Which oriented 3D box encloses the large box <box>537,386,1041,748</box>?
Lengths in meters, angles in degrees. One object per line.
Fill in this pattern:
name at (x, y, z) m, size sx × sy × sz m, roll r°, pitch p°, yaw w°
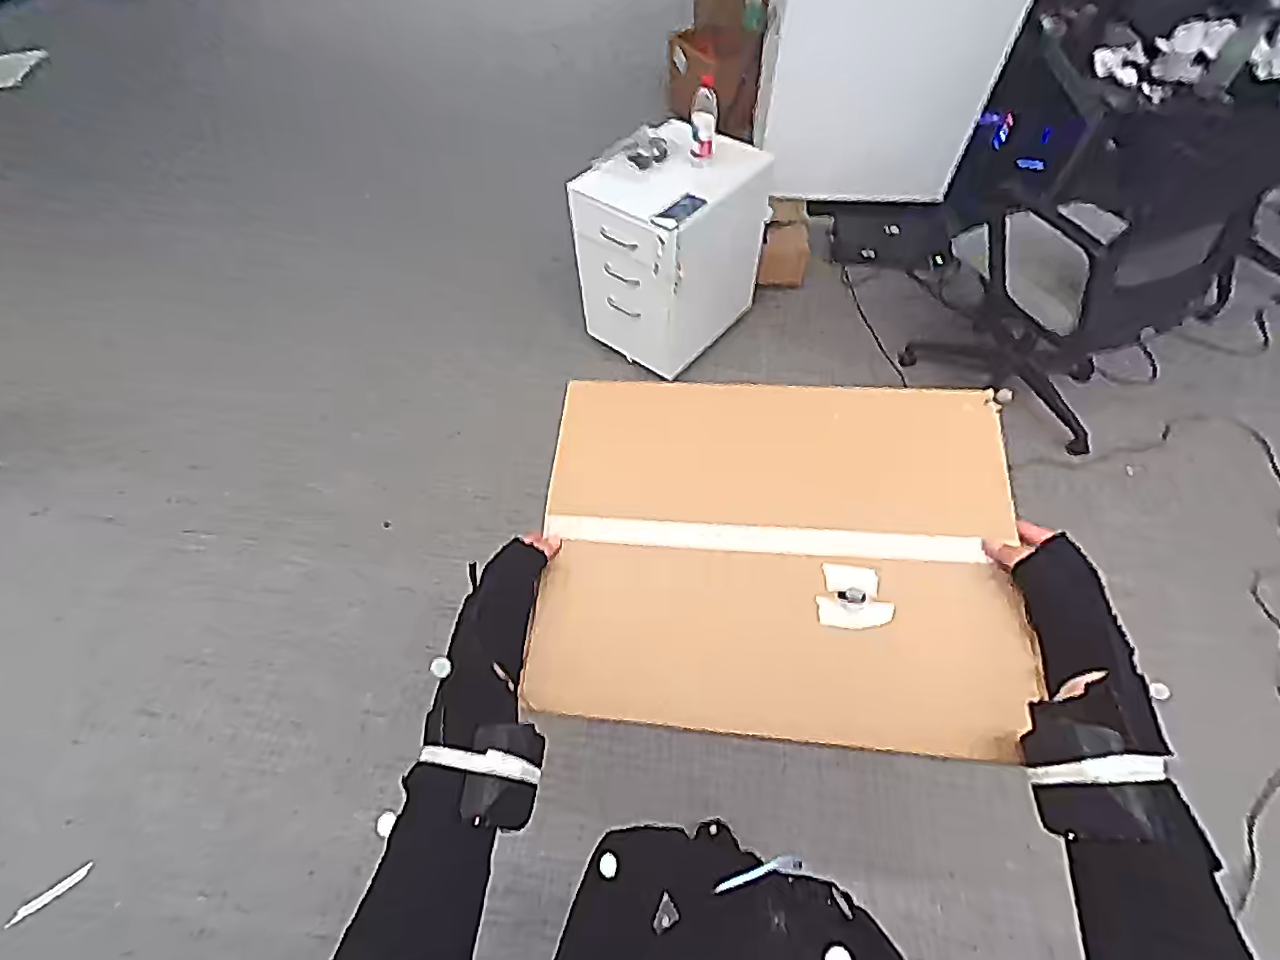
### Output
large box at (0.134, 0.109, 0.622) m, size 0.408 × 0.320 × 0.320 m, roll 3°, pitch 69°, yaw 7°
